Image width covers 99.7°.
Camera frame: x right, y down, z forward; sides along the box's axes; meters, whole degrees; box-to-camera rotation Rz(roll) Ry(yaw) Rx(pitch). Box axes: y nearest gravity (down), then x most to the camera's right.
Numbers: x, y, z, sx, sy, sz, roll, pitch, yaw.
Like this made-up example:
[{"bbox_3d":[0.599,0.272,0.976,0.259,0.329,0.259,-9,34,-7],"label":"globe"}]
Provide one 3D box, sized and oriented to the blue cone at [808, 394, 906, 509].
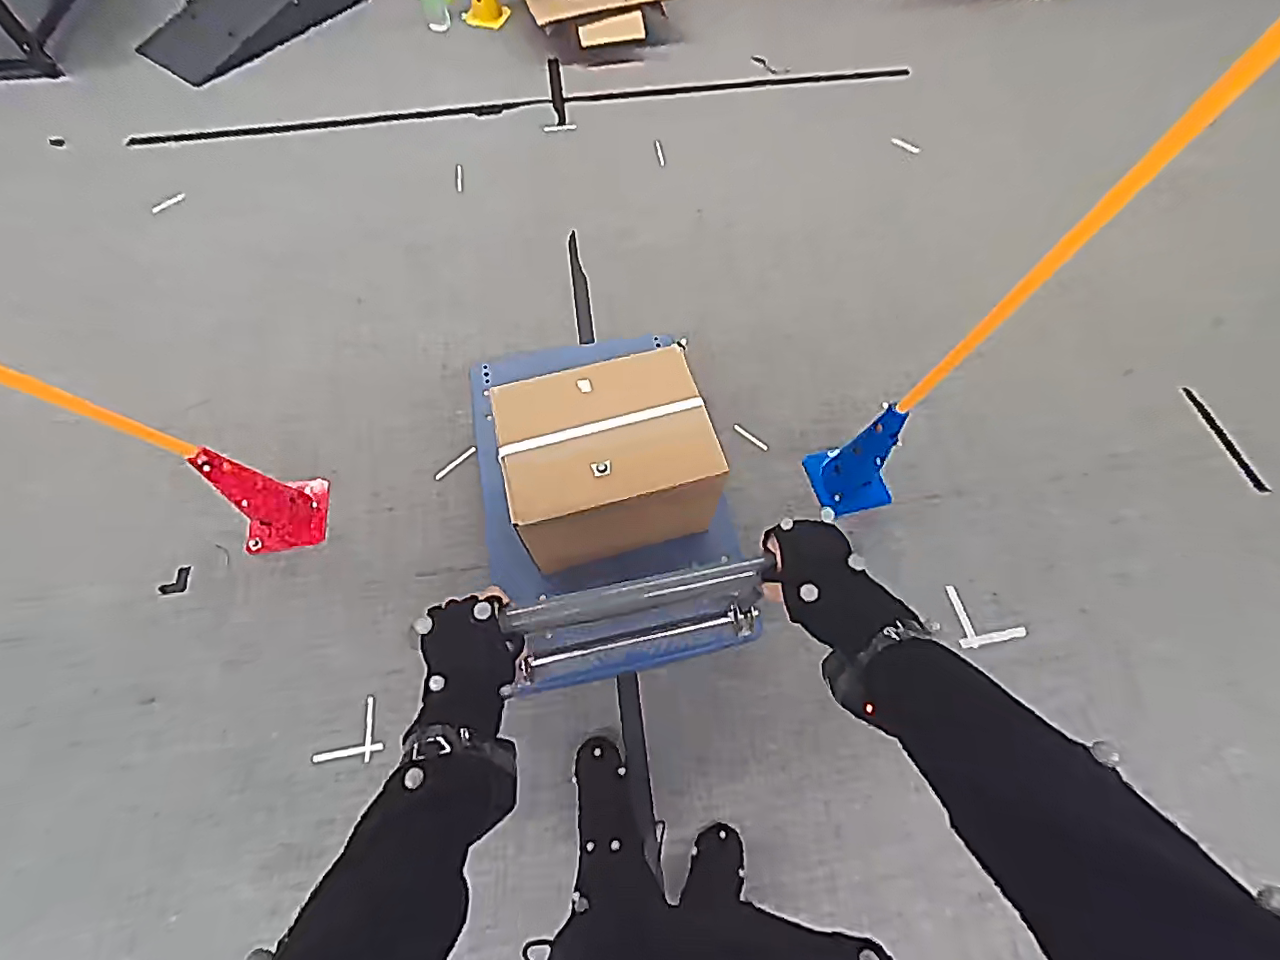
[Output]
[{"bbox_3d":[0.589,-0.086,1.382,0.193,0.380,0.192,-11,63,-6],"label":"blue cone"}]
